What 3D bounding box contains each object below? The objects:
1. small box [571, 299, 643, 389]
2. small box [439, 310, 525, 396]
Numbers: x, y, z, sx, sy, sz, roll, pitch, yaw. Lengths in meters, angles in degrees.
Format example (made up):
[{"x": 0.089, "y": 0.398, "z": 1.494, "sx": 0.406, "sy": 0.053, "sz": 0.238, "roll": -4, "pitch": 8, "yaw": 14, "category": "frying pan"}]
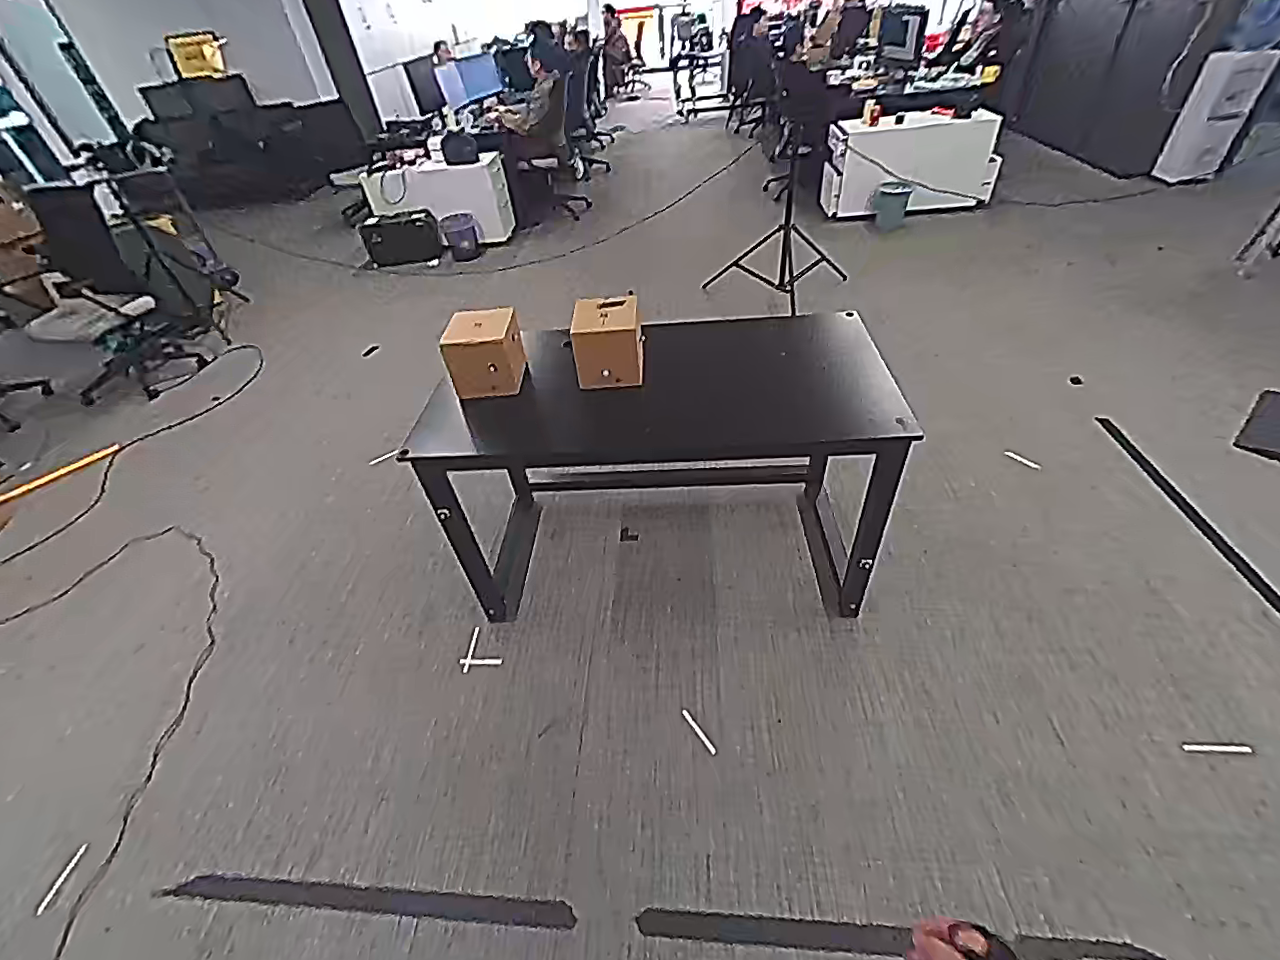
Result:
[{"x": -0.081, "y": -0.358, "z": 1.429, "sx": 0.168, "sy": 0.176, "sz": 0.179, "roll": -3, "pitch": 43, "yaw": 4, "category": "small box"}, {"x": -0.413, "y": -0.335, "z": 1.447, "sx": 0.168, "sy": 0.176, "sz": 0.179, "roll": -4, "pitch": 42, "yaw": 1, "category": "small box"}]
